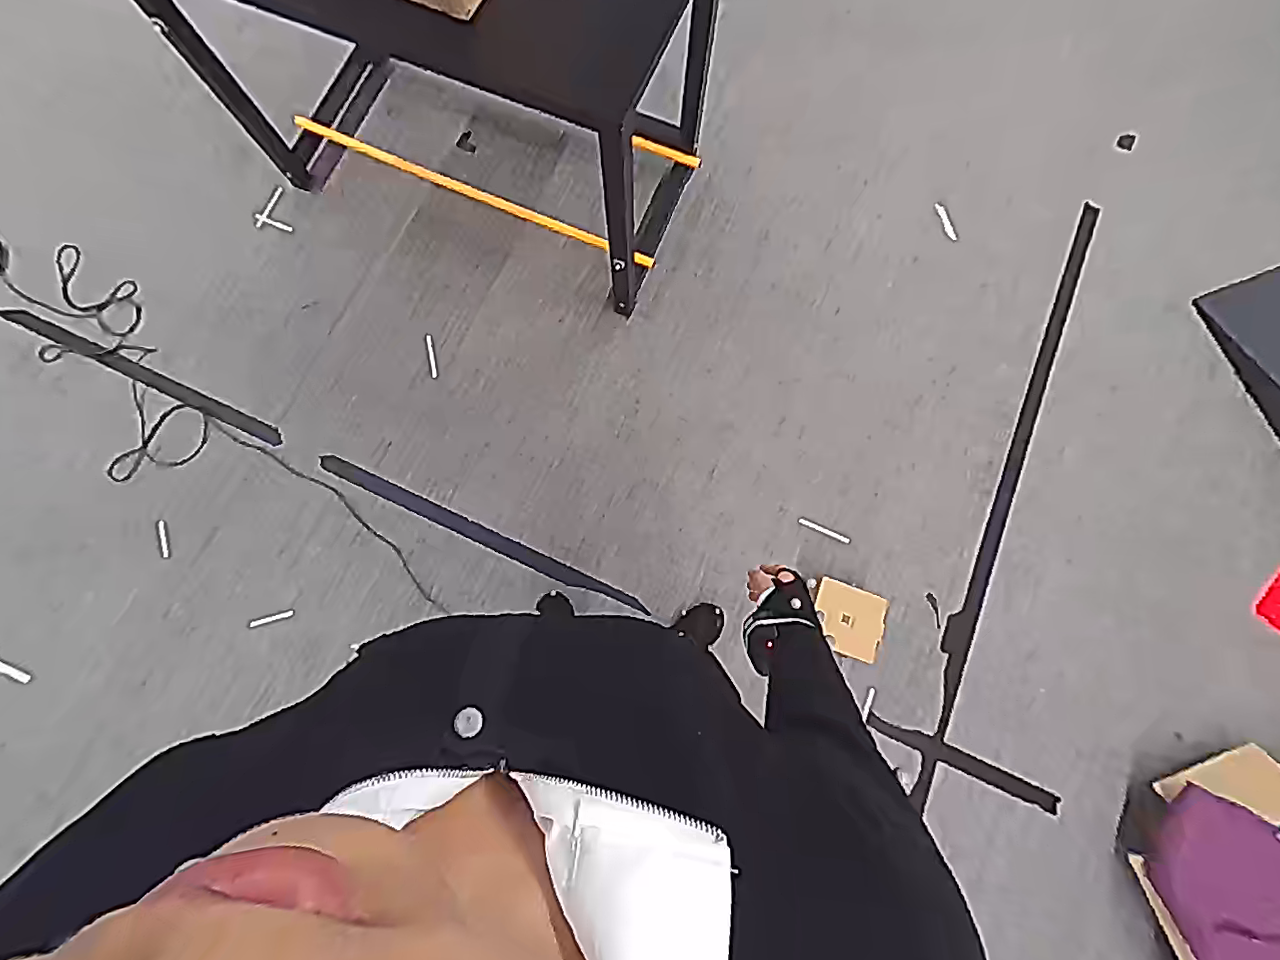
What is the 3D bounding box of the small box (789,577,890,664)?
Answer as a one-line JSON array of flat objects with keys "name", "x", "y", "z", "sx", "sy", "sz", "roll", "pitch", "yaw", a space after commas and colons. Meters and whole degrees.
[{"name": "small box", "x": 0.512, "y": 0.360, "z": 1.407, "sx": 0.179, "sy": 0.176, "sz": 0.168, "roll": 20, "pitch": 78, "yaw": 5}]
